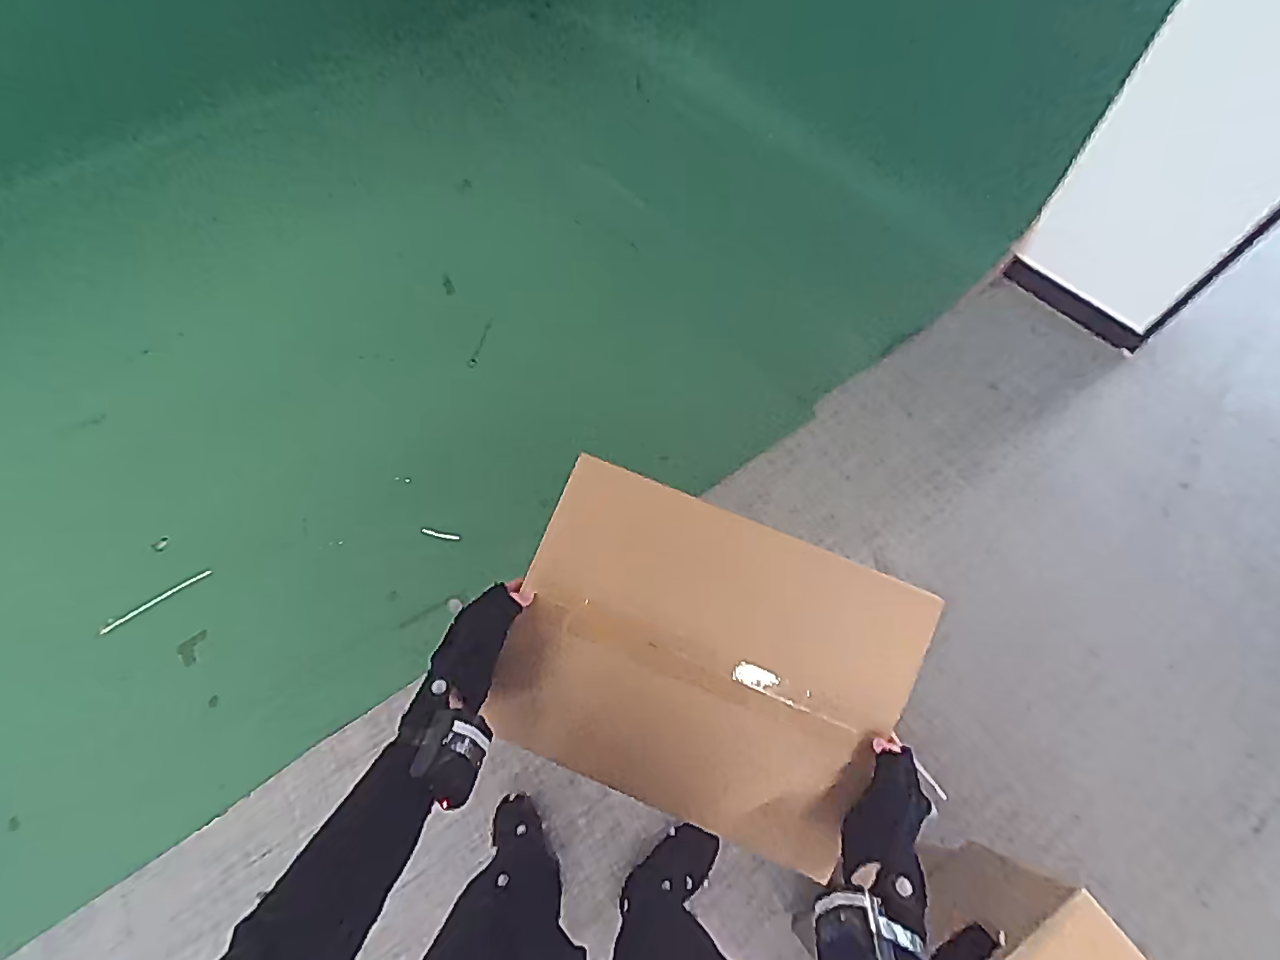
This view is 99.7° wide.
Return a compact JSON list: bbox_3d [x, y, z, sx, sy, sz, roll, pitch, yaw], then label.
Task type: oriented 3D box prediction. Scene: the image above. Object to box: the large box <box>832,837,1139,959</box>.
[{"bbox_3d":[0.515,0.760,0.674,0.320,0.320,0.408,-34,64,-8],"label":"large box"}]
